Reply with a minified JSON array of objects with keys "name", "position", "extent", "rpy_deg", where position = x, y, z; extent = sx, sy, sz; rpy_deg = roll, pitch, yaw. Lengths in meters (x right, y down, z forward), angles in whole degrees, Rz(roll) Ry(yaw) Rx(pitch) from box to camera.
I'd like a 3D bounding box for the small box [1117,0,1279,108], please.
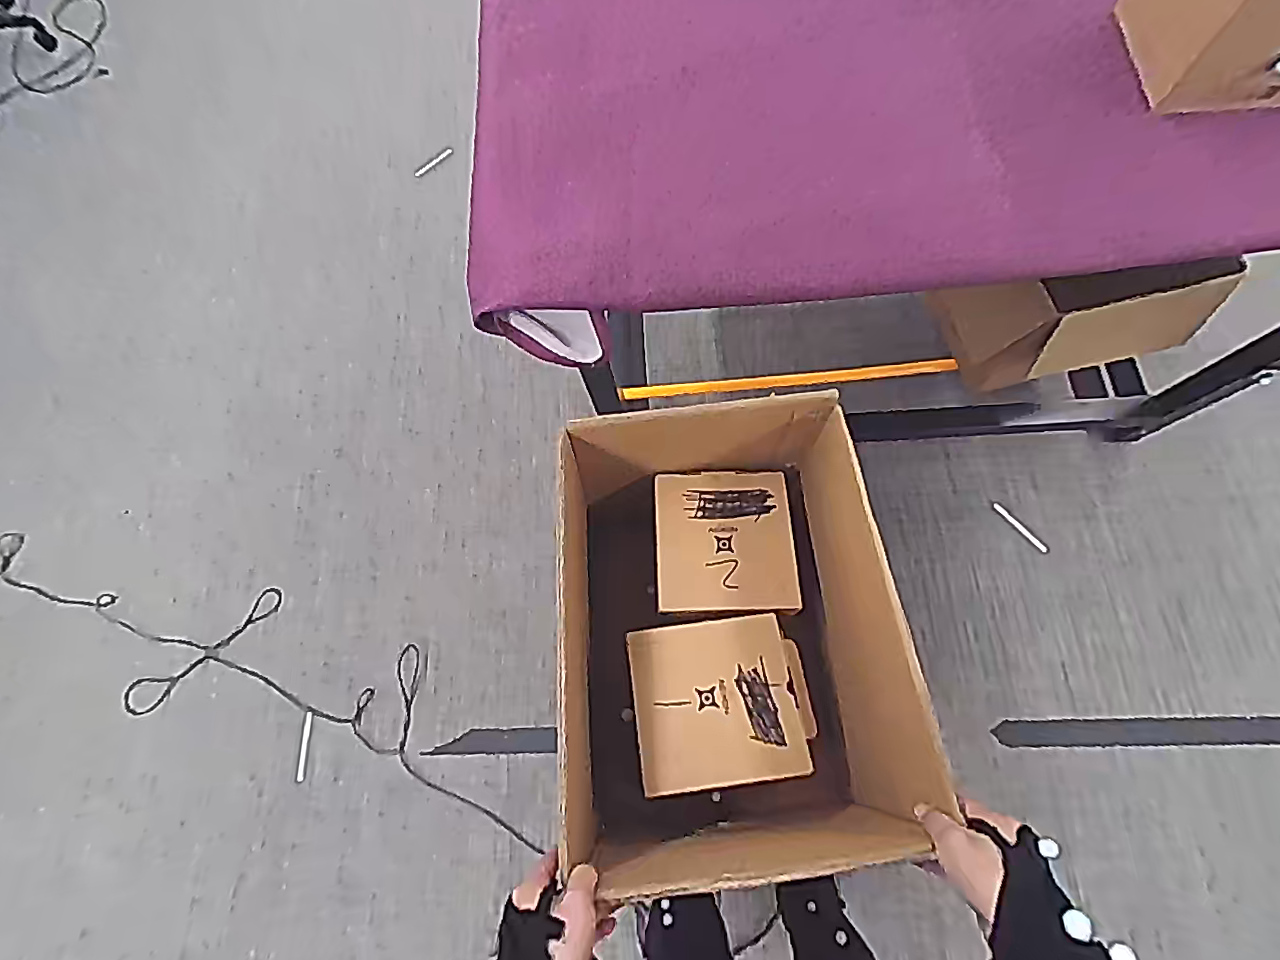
[{"name":"small box","position":[0.634,-0.514,0.540],"extent":[0.168,0.176,0.179],"rpy_deg":[0,72,6]}]
